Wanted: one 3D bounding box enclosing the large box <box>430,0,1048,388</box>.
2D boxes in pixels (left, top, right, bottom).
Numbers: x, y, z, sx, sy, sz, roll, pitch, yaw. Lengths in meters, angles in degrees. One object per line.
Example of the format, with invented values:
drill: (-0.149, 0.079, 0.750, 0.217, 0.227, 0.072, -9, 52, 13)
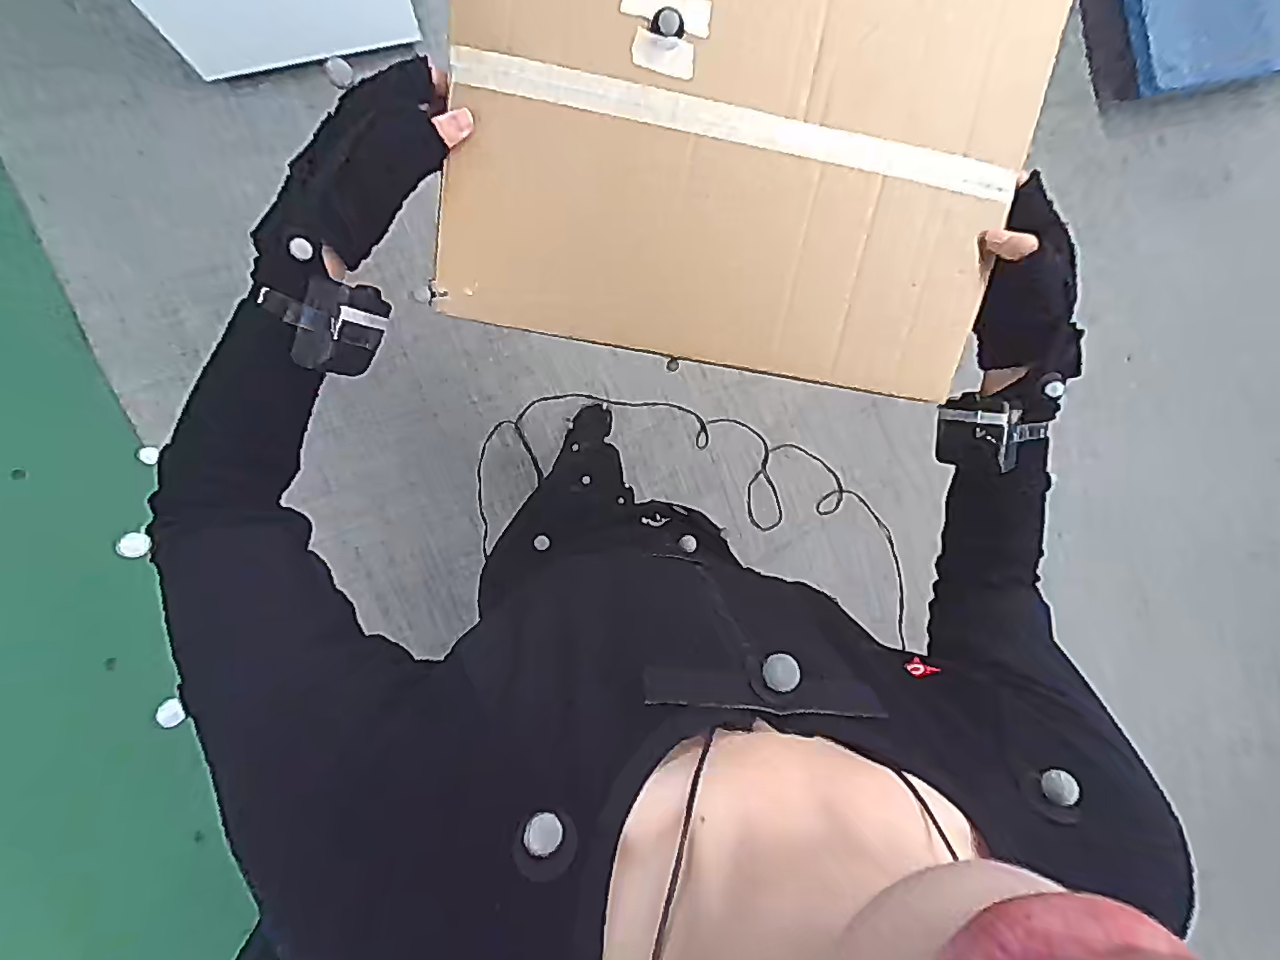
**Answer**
large box: (0.058, -0.282, 0.522, 0.408, 0.320, 0.320, 9, 103, -5)
